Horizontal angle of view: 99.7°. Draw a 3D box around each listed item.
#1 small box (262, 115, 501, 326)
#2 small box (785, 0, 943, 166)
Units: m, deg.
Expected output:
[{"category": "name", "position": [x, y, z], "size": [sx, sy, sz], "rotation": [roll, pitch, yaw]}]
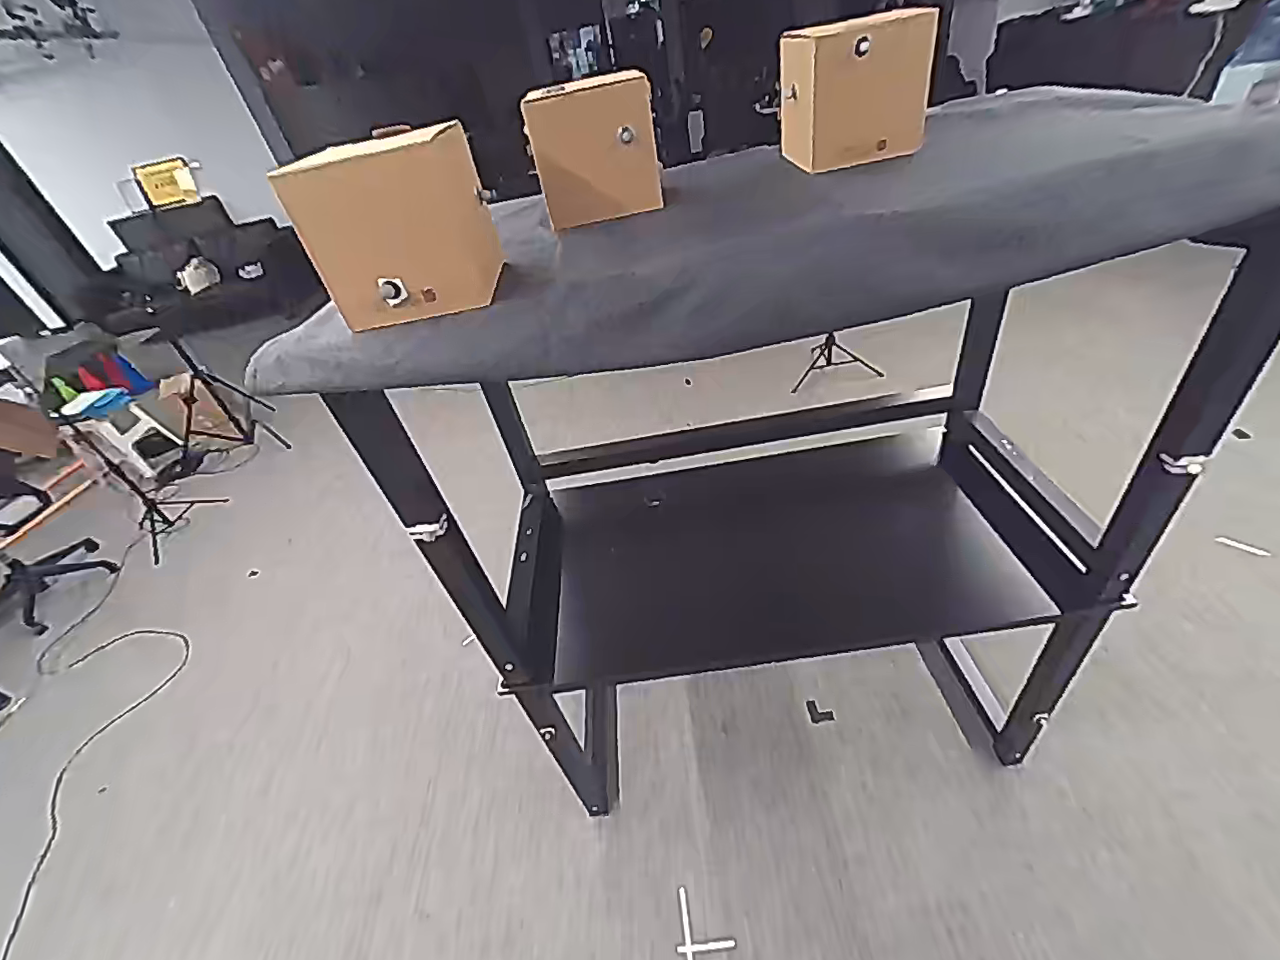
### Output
[{"category": "small box", "position": [-0.268, -0.295, 0.615], "size": [0.168, 0.176, 0.179], "rotation": [-12, 38, 2]}, {"category": "small box", "position": [0.319, -0.589, 0.813], "size": [0.168, 0.176, 0.179], "rotation": [-10, 39, 3]}]
